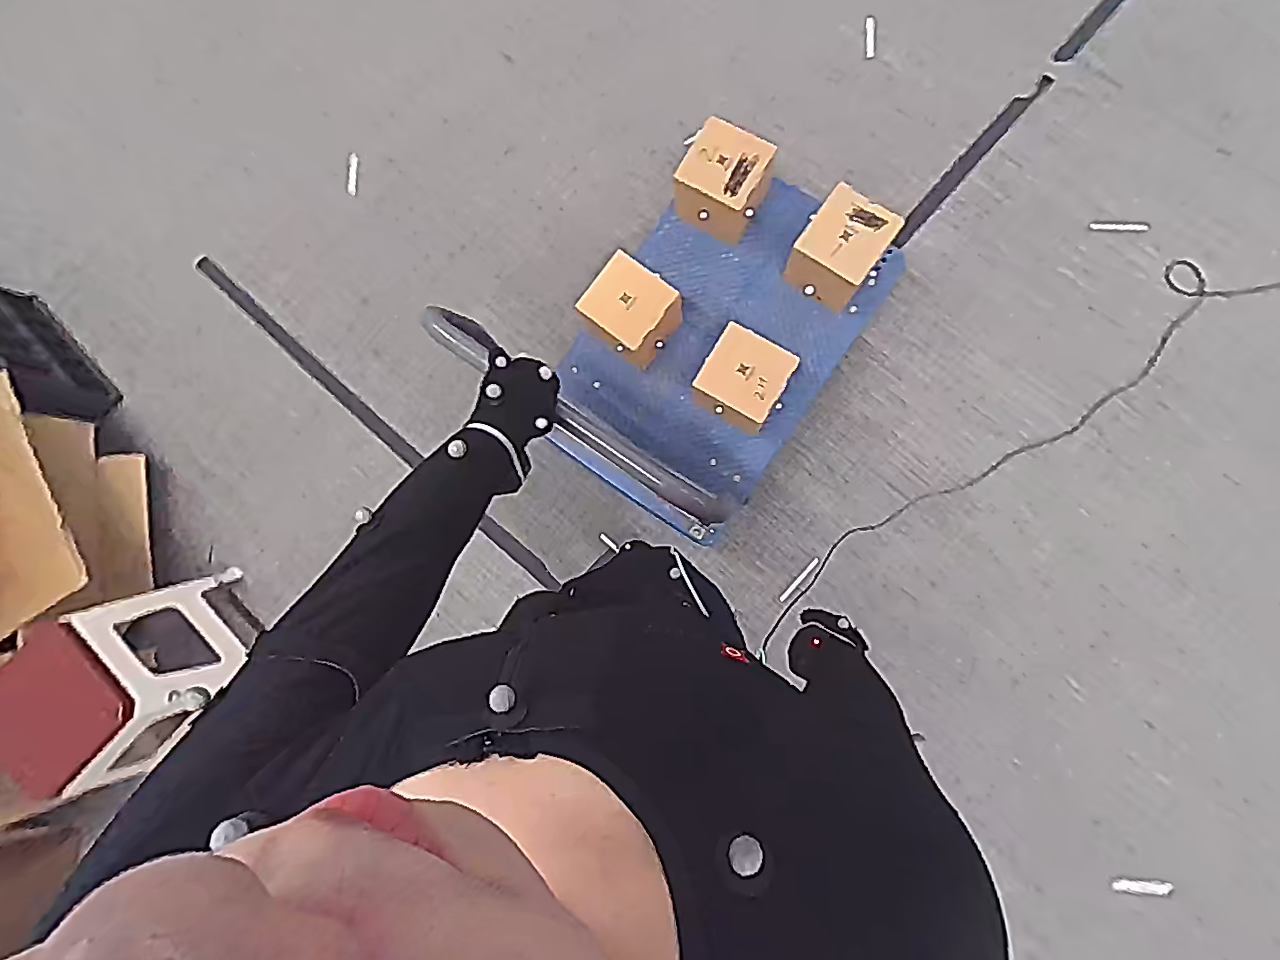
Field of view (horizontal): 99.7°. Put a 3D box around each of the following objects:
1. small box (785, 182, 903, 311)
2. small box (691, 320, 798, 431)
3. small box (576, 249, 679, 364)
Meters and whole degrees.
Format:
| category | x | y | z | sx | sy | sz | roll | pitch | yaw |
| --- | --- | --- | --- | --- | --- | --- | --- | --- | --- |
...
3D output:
| category | x | y | z | sx | sy | sz | roll | pitch | yaw |
| --- | --- | --- | --- | --- | --- | --- | --- | --- | --- |
| small box | 0.454 | -0.525 | 1.239 | 0.168 | 0.176 | 0.179 | 36 | 91 | 7 |
| small box | 0.232 | -0.229 | 1.240 | 0.179 | 0.176 | 0.168 | 32 | 90 | 7 |
| small box | -0.023 | -0.399 | 1.281 | 0.179 | 0.176 | 0.168 | 38 | 90 | 6 |
